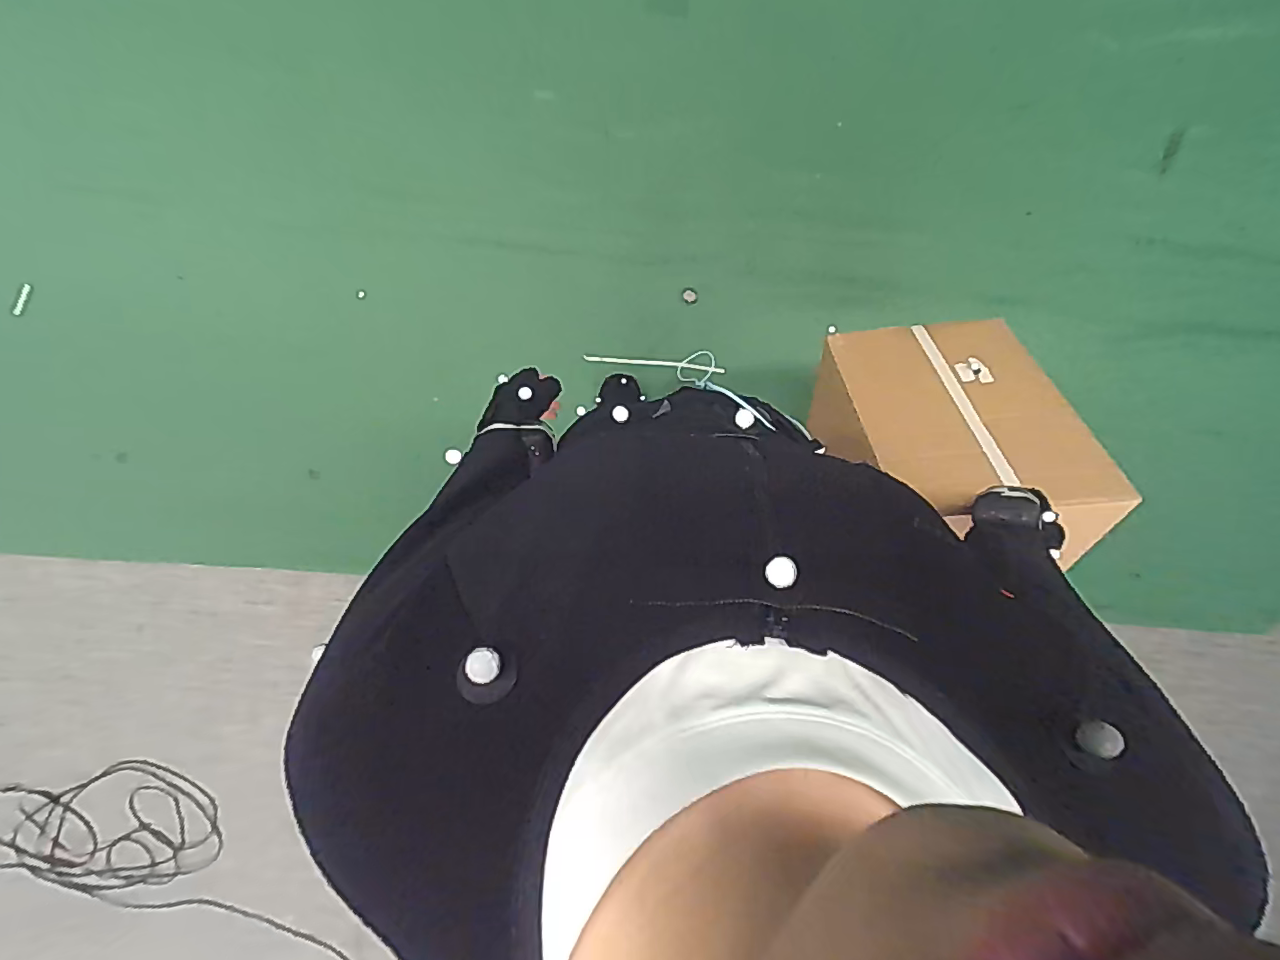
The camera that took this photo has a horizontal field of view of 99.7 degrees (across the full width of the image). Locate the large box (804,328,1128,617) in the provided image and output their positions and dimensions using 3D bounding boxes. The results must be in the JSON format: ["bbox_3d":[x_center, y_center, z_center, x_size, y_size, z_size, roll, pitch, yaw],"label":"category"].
[{"bbox_3d":[0.510,-0.014,0.967,0.320,0.408,0.320,-4,140,2],"label":"large box"}]
